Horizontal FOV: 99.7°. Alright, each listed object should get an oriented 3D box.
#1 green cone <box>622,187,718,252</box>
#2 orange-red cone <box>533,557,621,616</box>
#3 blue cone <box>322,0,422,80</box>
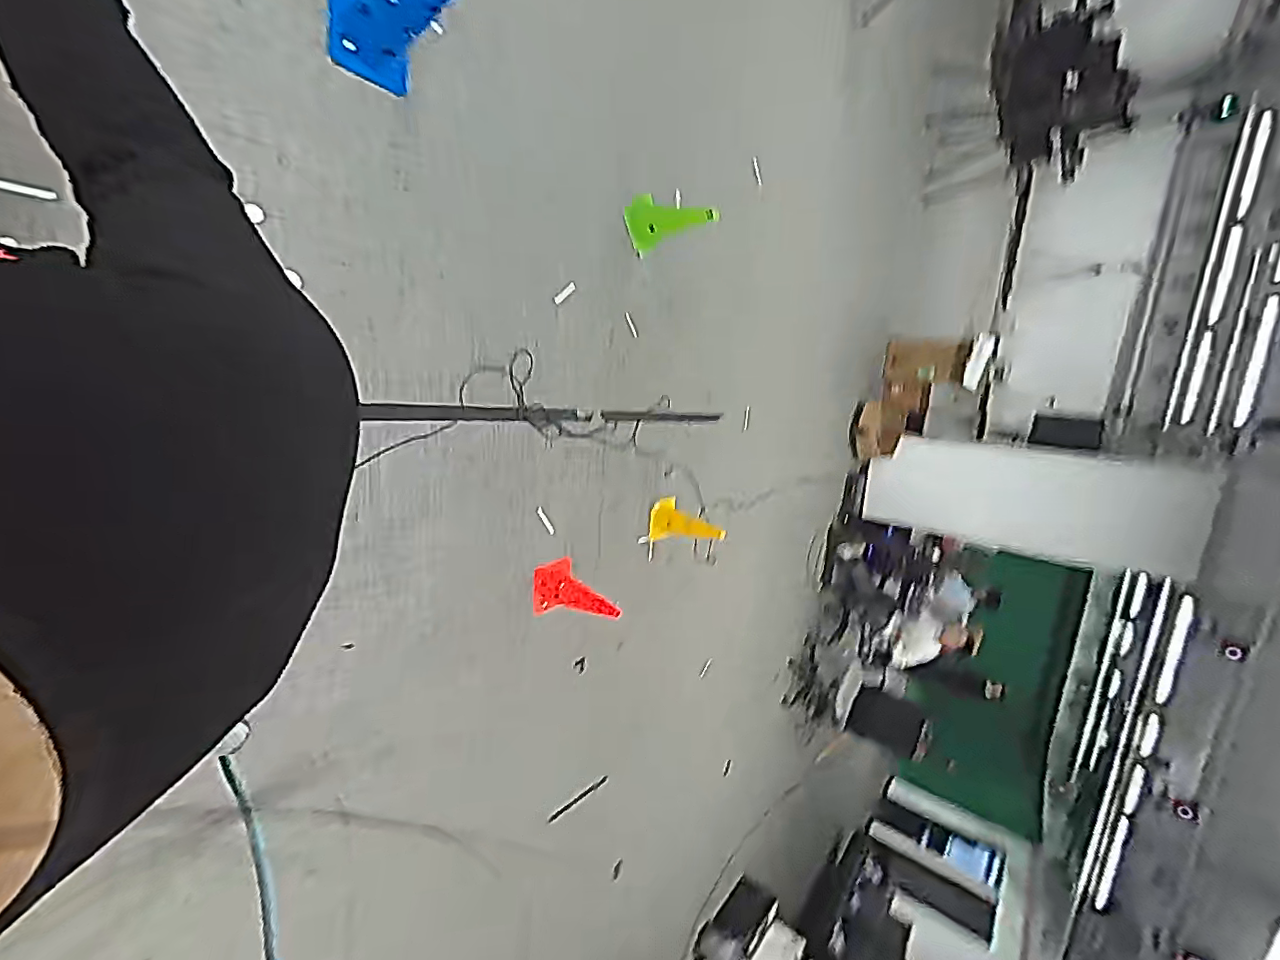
[{"bbox_3d":[0.142,-1.045,2.118,0.200,0.368,0.202,-52,135,-31],"label":"green cone"},{"bbox_3d":[-0.219,0.449,2.083,0.199,0.360,0.198,-14,112,-52],"label":"orange-red cone"},{"bbox_3d":[-0.552,-1.086,1.225,0.193,0.380,0.192,-4,102,-52],"label":"blue cone"}]
